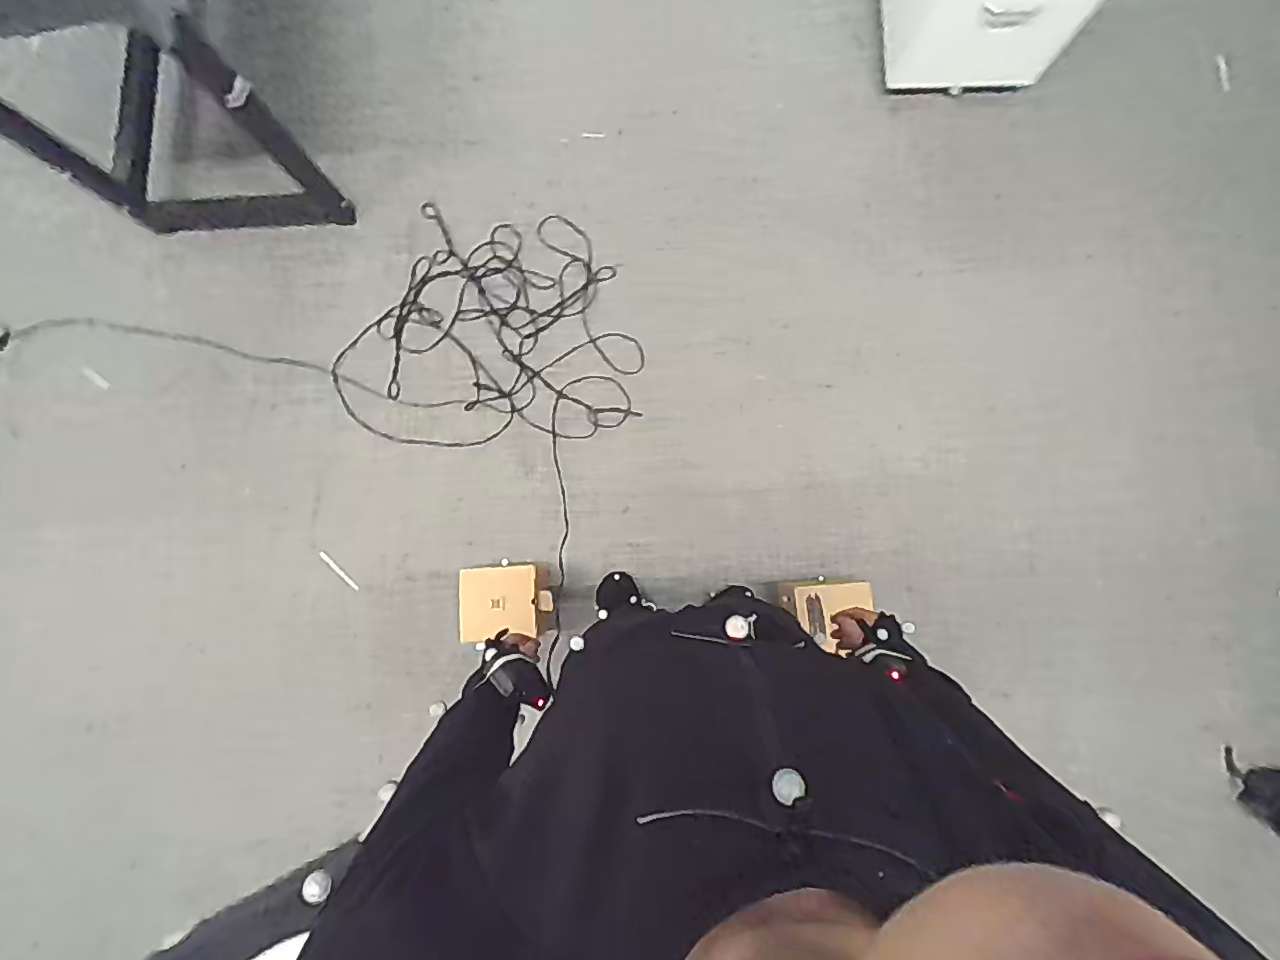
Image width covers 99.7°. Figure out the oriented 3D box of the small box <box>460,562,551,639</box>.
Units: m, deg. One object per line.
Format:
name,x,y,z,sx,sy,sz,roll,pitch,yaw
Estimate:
small box,-0.318,0.284,1.300,0.179,0.176,0.168,-3,83,0
